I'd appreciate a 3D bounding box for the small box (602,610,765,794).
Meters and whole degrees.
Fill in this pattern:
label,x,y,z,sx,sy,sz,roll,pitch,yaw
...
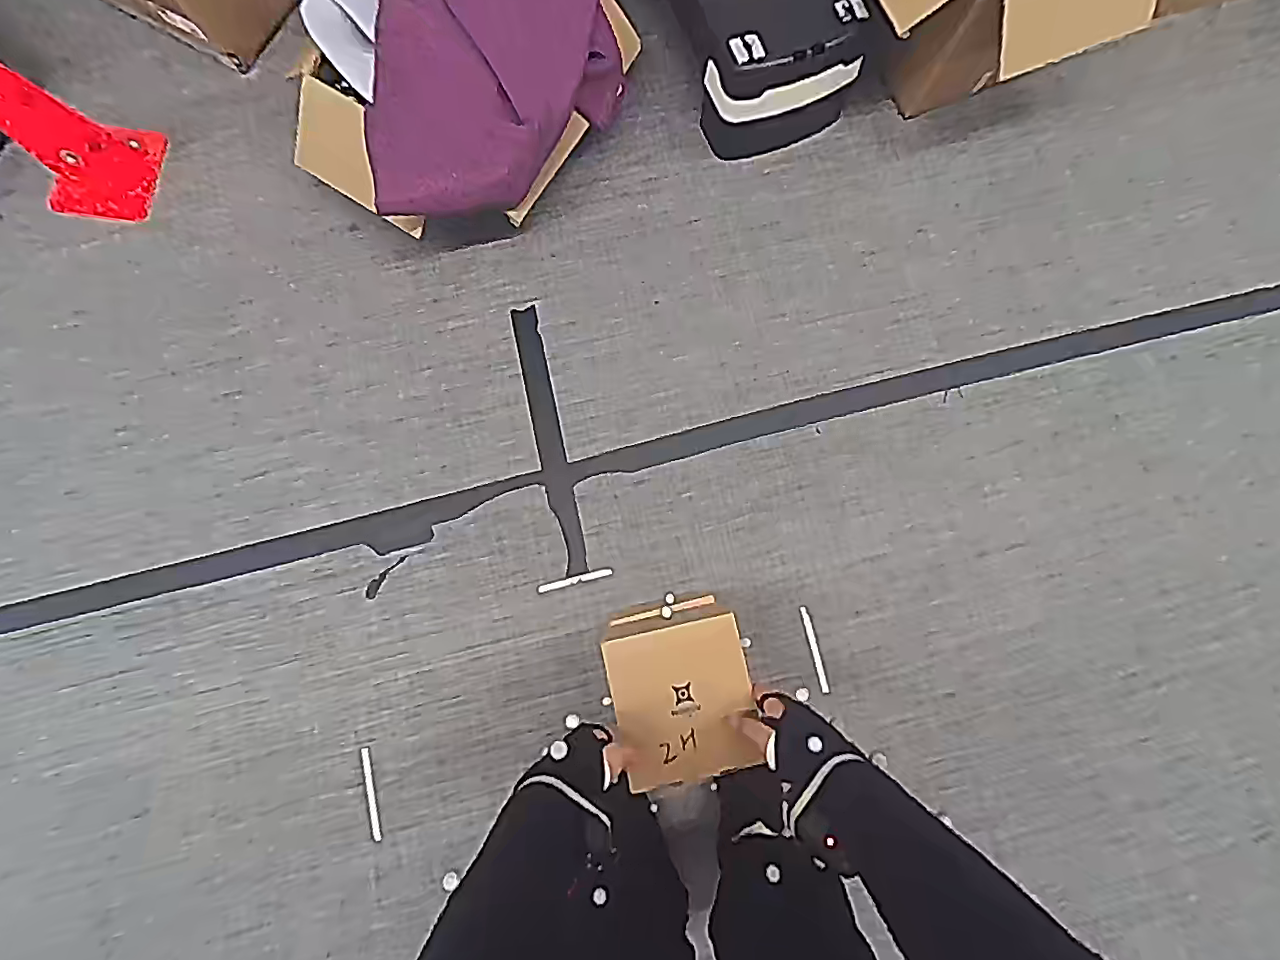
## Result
label,x,y,z,sx,sy,sz,roll,pitch,yaw
small box,0.048,0.274,0.713,0.168,0.176,0.179,-12,82,-2

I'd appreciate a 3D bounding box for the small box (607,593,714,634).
label,x,y,z,sx,sy,sz,roll,pitch,yaw
small box,0.050,0.292,0.879,0.168,0.176,0.179,-14,82,-2
